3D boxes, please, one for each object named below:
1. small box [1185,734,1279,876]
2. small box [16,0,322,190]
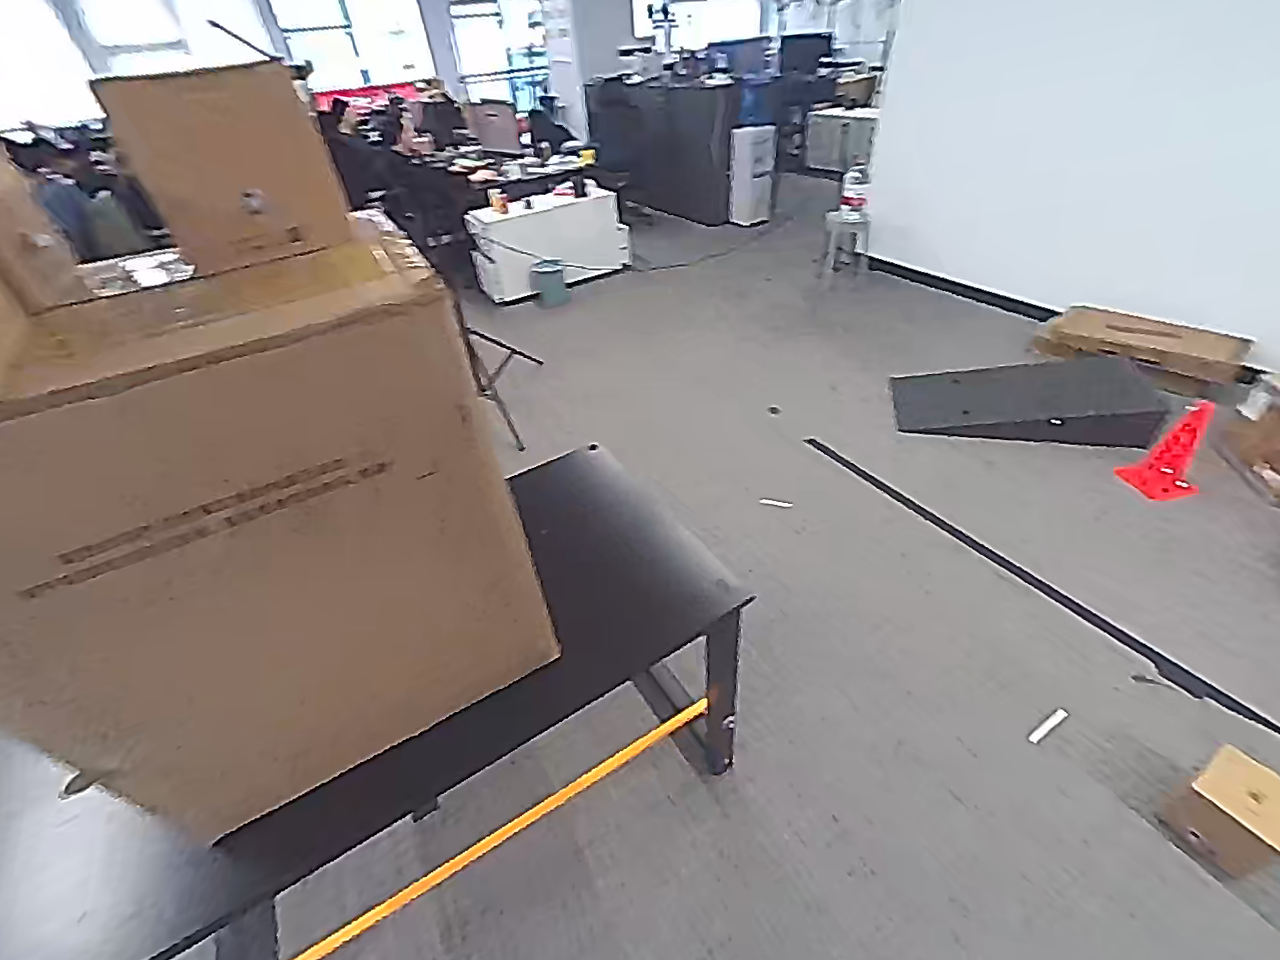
[{"bbox_3d":[1.328,0.688,1.147,0.179,0.176,0.168,-26,43,-21],"label":"small box"},{"bbox_3d":[-0.431,-0.385,0.511,0.168,0.176,0.179,-26,42,-21],"label":"small box"}]
